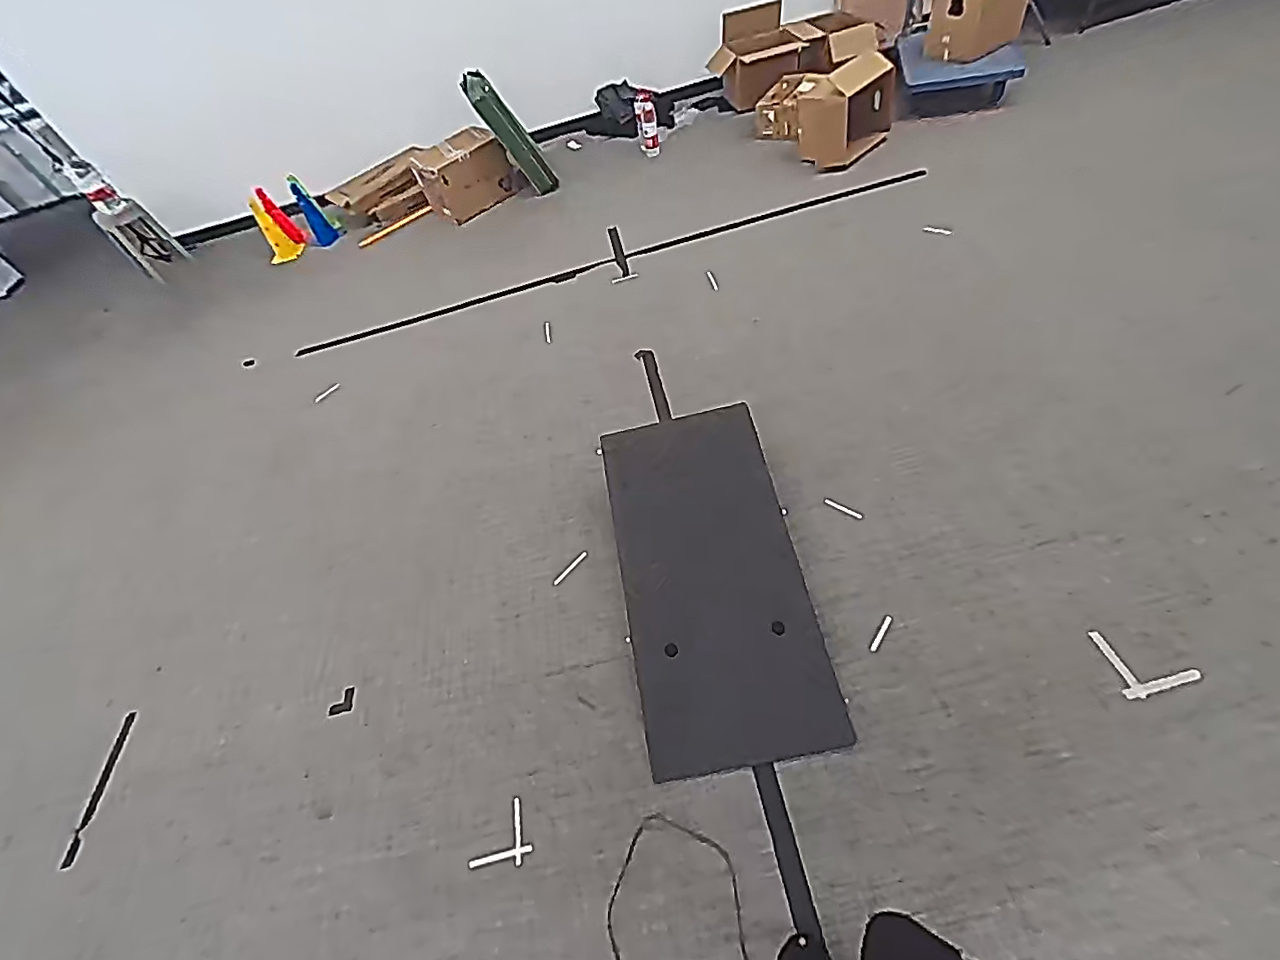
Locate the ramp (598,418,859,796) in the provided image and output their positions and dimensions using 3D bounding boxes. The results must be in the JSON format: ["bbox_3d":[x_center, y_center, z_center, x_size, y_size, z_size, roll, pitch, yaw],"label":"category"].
[{"bbox_3d":[0.194,0.278,1.527,0.509,0.206,0.991,-15,50,1],"label":"ramp"}]
